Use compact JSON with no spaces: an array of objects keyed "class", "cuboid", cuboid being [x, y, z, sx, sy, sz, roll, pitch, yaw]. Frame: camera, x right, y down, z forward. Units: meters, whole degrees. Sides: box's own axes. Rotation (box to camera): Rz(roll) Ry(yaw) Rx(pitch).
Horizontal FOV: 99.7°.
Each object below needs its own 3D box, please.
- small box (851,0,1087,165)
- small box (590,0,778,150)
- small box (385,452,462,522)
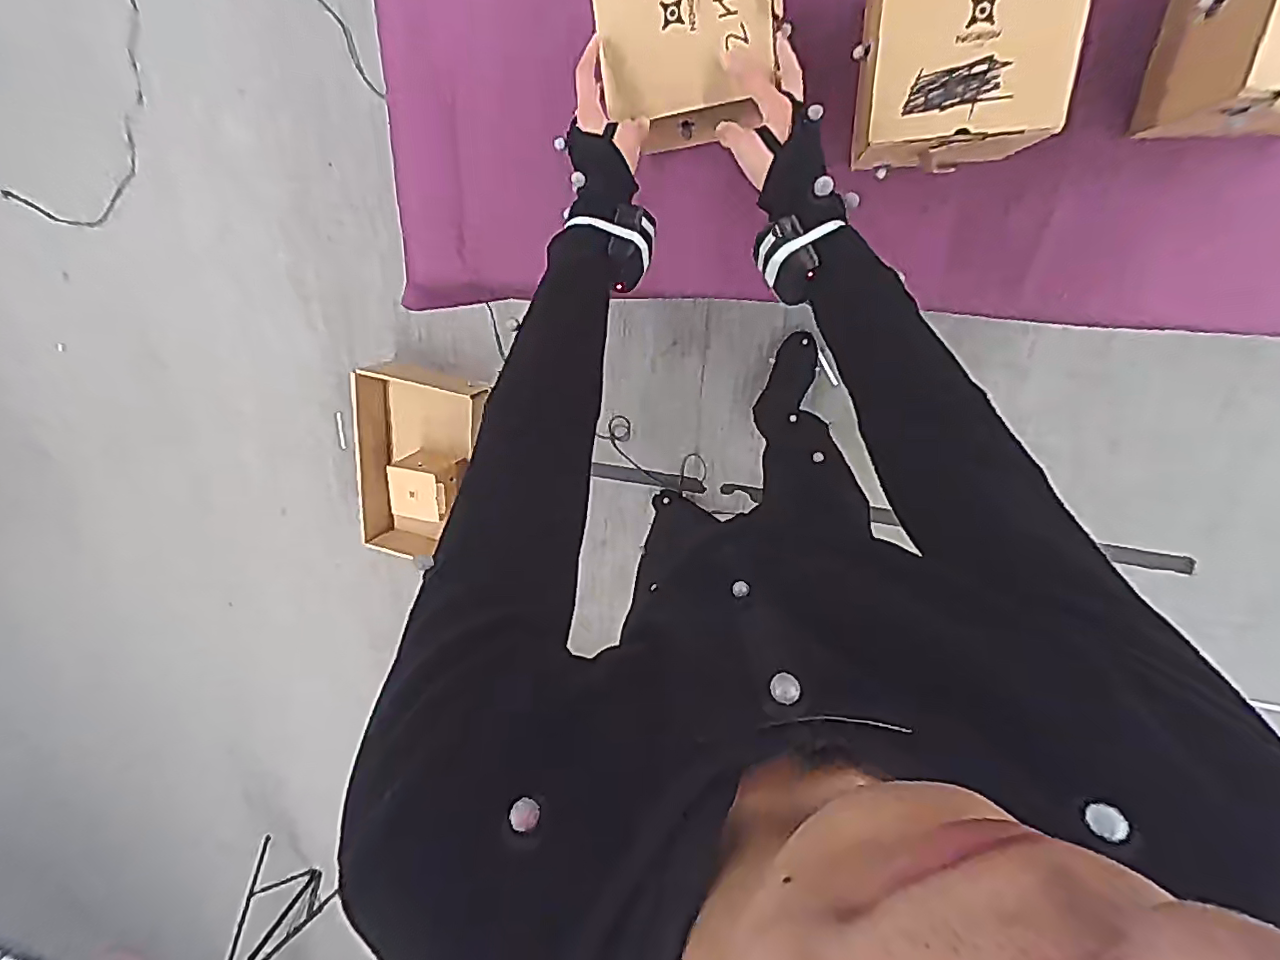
[{"class":"small box","cuboid":[0.313,-0.427,0.542,0.168,0.176,0.179,3,111,13]},{"class":"small box","cuboid":[0.057,-0.478,0.589,0.179,0.176,0.168,-1,112,15]},{"class":"small box","cuboid":[-0.688,0.017,1.744,0.179,0.176,0.168,9,112,11]}]
